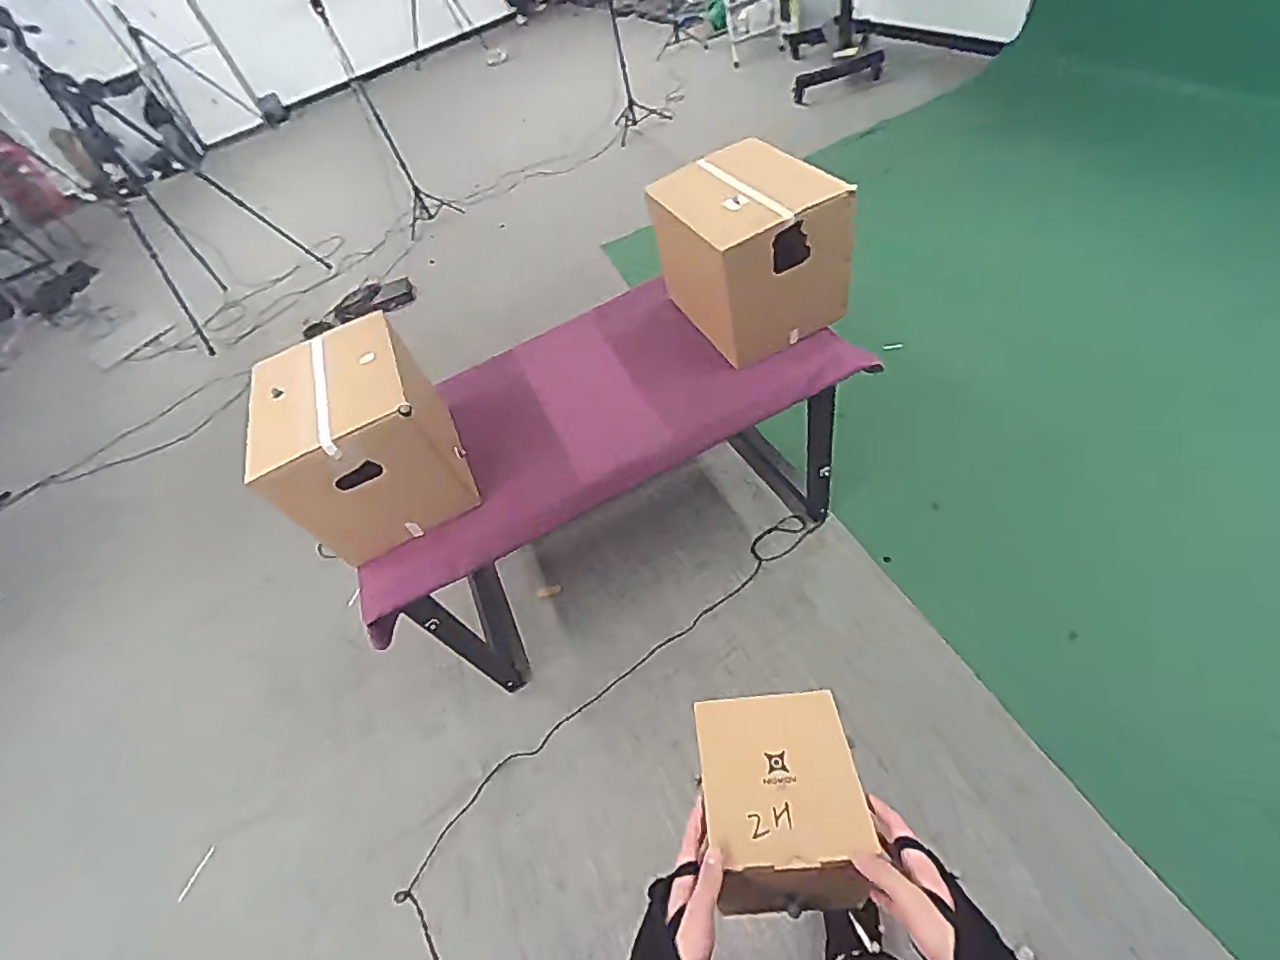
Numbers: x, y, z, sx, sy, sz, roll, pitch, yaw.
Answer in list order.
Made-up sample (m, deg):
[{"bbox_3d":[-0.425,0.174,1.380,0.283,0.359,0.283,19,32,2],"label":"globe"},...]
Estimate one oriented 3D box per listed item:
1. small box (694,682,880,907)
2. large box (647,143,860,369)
[{"bbox_3d":[0.155,0.363,0.630,0.168,0.176,0.179,-7,39,4],"label":"small box"},{"bbox_3d":[0.261,-0.545,1.307,0.320,0.320,0.408,-27,51,-4],"label":"large box"}]
